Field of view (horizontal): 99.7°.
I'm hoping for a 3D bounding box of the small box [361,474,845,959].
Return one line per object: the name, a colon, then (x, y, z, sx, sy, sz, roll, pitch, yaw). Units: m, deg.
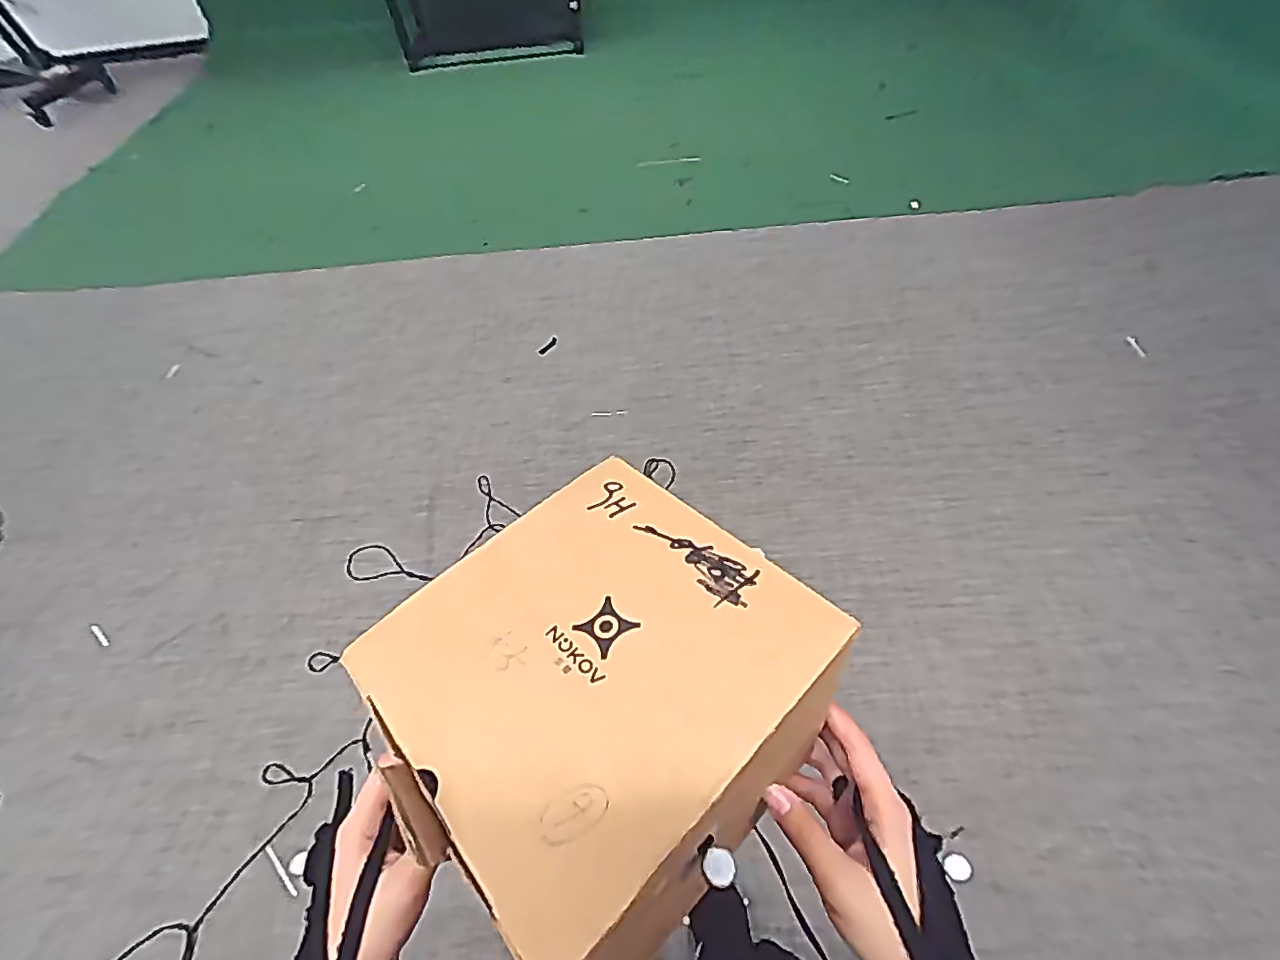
small box: (-0.011, 0.137, 0.311, 0.179, 0.176, 0.168, -39, 54, -25)
